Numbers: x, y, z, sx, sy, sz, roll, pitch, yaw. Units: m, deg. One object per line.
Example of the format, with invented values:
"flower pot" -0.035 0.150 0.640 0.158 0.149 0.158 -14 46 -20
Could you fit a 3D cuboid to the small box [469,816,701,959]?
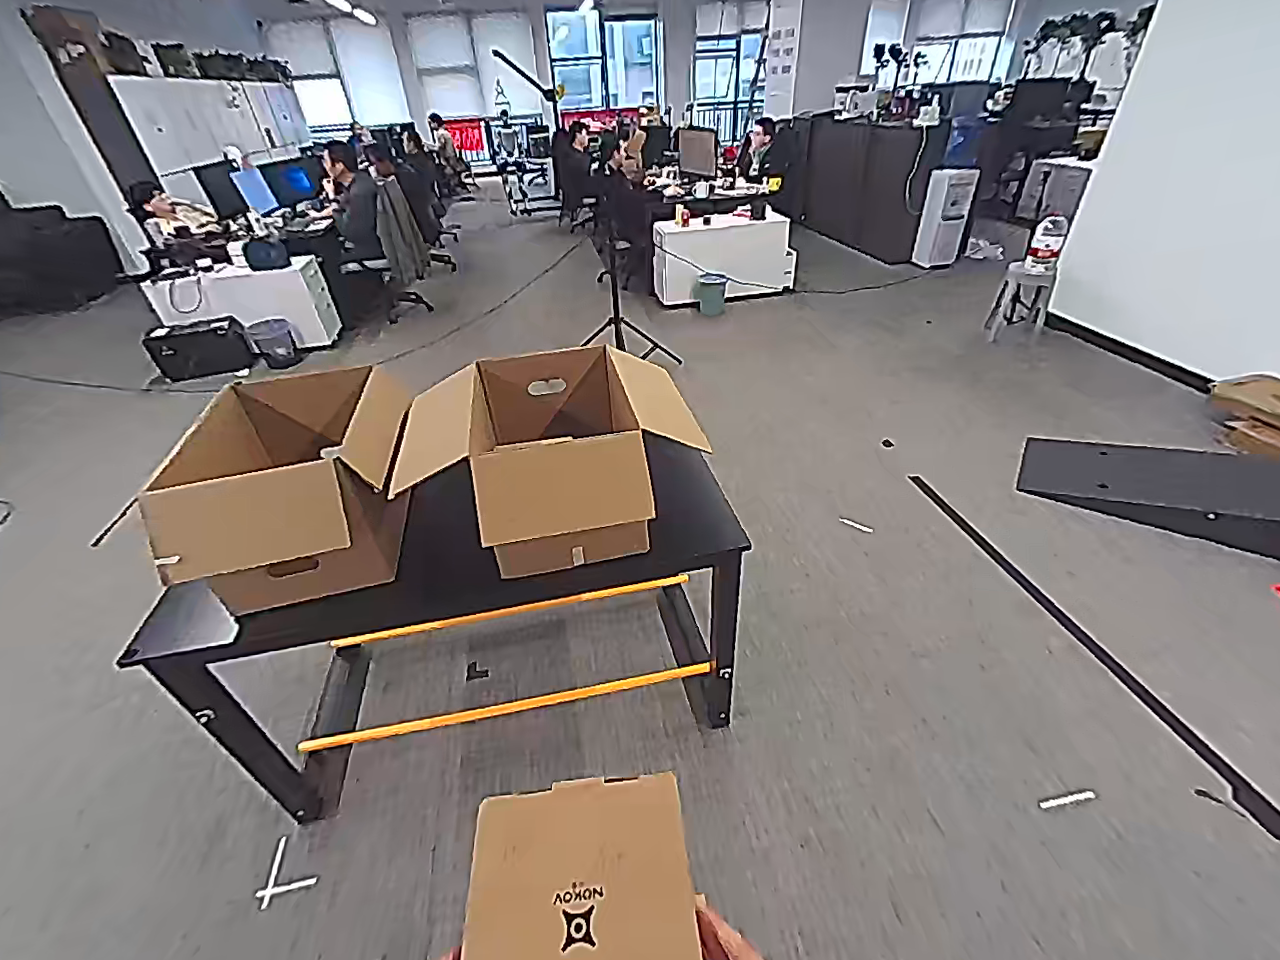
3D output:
"small box" -0.034 0.400 0.424 0.168 0.176 0.179 -7 38 -2
